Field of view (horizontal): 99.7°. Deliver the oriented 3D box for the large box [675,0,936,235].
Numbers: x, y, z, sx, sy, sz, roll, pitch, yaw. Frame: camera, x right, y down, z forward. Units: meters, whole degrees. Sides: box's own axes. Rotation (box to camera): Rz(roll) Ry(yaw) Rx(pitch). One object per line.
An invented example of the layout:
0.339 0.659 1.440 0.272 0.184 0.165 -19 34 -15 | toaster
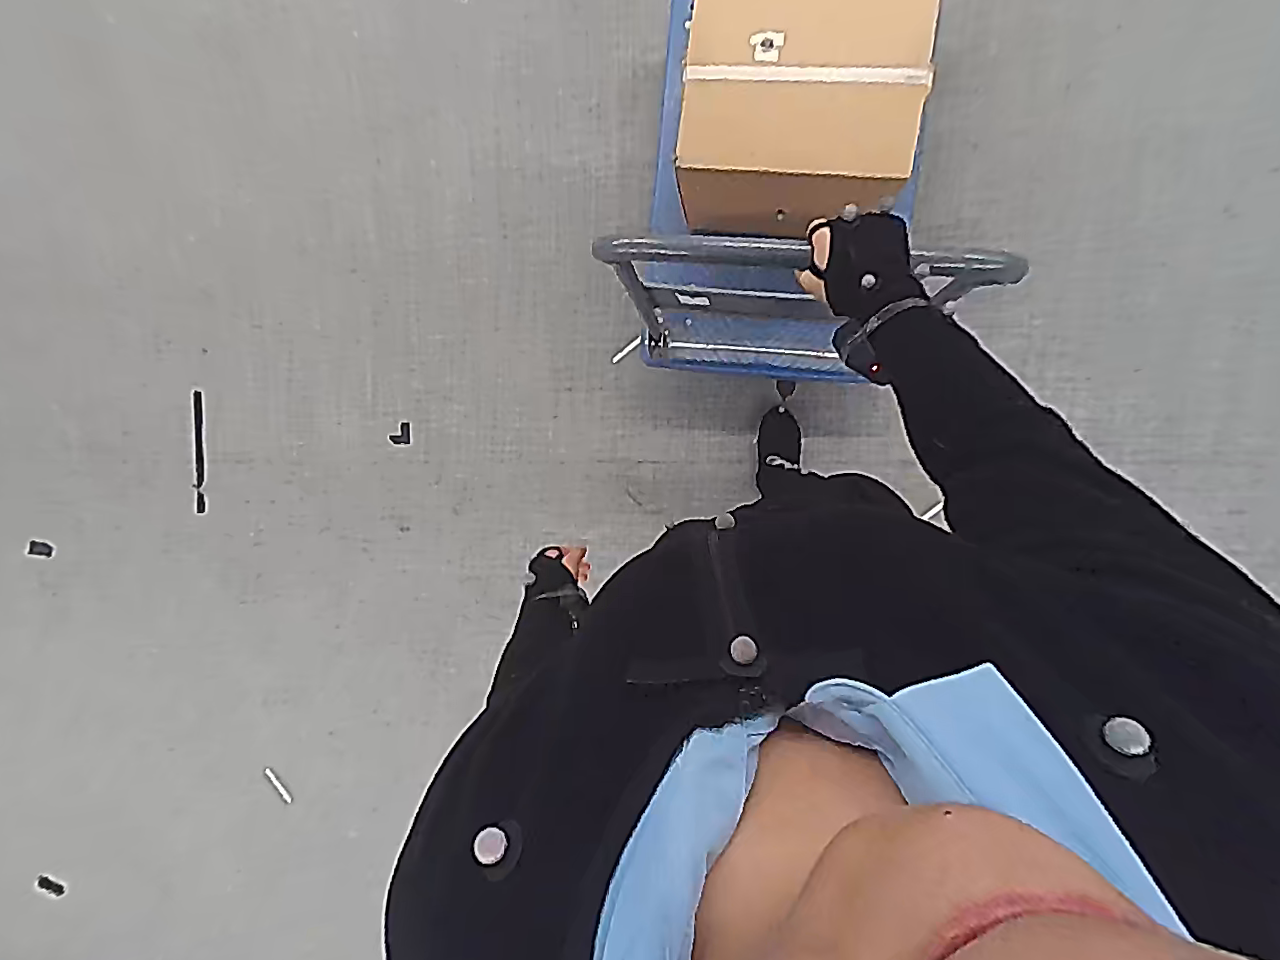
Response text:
0.301 -0.696 1.060 0.408 0.320 0.320 8 95 10 | large box
